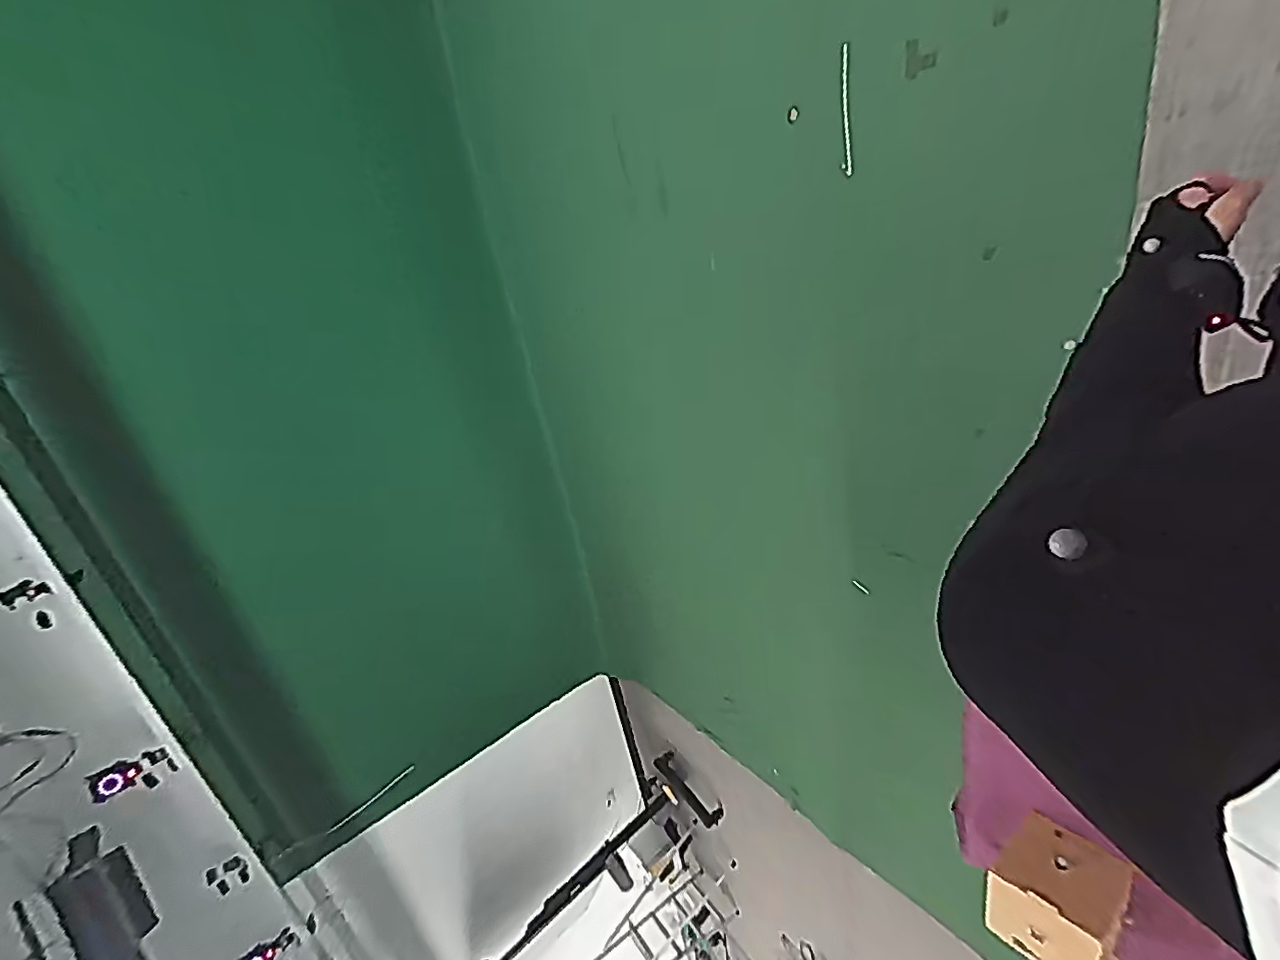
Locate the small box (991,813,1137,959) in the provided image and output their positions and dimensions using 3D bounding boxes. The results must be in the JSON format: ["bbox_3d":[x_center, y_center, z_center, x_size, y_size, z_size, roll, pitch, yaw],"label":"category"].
[{"bbox_3d":[0.767,0.760,0.981,0.168,0.176,0.179,17,124,52],"label":"small box"}]
